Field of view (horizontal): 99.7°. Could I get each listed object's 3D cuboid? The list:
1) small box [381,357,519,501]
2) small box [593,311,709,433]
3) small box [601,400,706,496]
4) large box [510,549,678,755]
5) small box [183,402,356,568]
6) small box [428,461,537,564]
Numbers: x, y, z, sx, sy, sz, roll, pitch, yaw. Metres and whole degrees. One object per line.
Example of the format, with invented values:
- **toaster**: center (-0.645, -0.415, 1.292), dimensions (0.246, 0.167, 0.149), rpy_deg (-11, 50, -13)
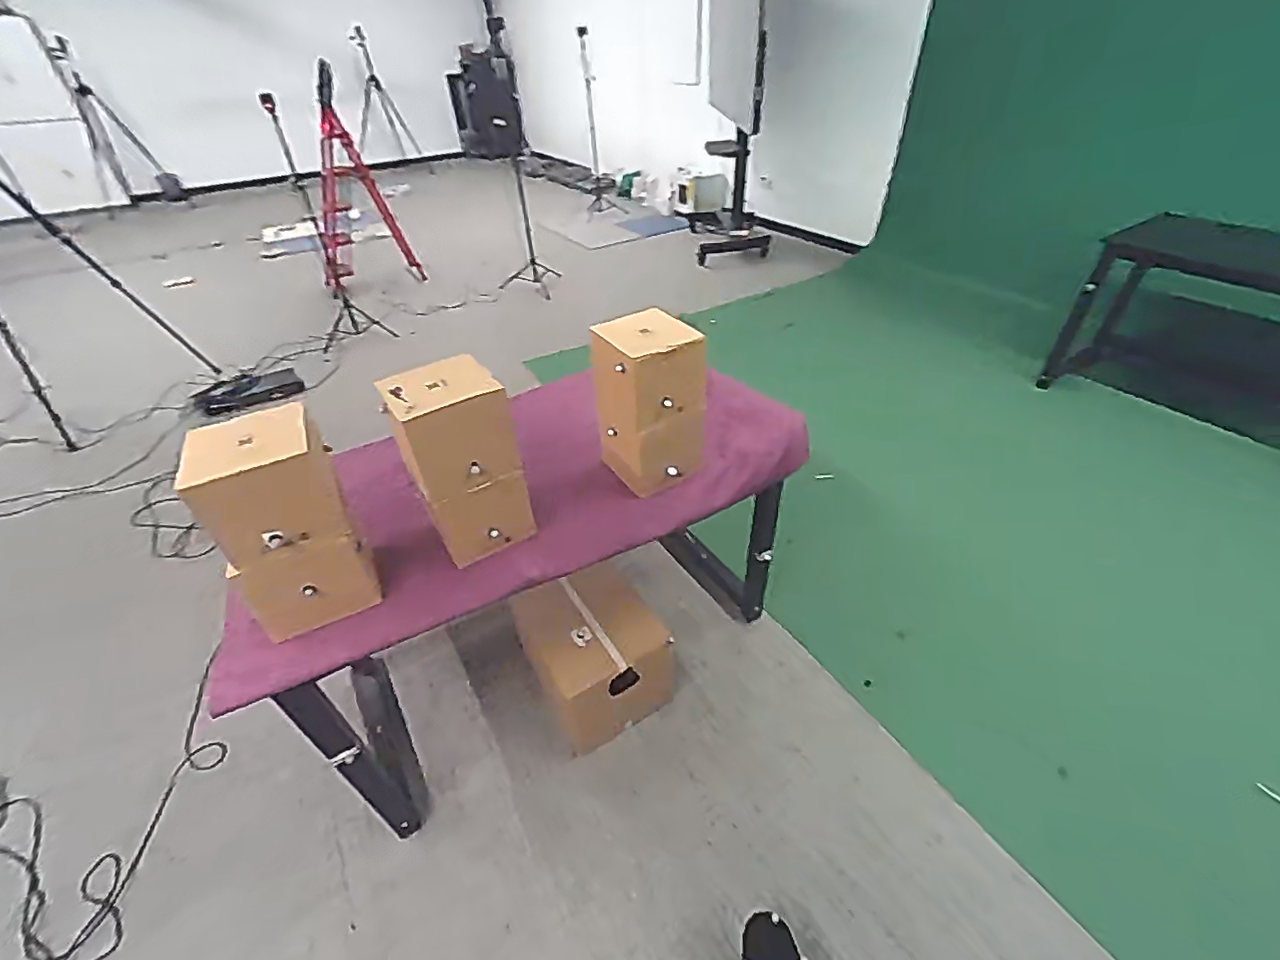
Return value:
- **small box**: center (-0.328, -0.093, 0.961), dimensions (0.179, 0.176, 0.168), rpy_deg (-24, 42, -25)
- **small box**: center (0.020, -0.221, 1.102), dimensions (0.168, 0.176, 0.179), rpy_deg (-24, 44, -23)
- **small box**: center (0.028, -0.093, 1.201), dimensions (0.168, 0.176, 0.179), rpy_deg (-23, 44, -23)
- **large box**: center (-0.134, 0.479, 1.557), dimensions (0.320, 0.320, 0.408), rpy_deg (-24, 45, -23)
- **small box**: center (-0.573, 0.006, 0.855), dimensions (0.168, 0.176, 0.179), rpy_deg (-22, 43, -20)
- **small box**: center (-0.321, 0.033, 1.065), dimensions (0.168, 0.176, 0.179), rpy_deg (-25, 44, -24)
